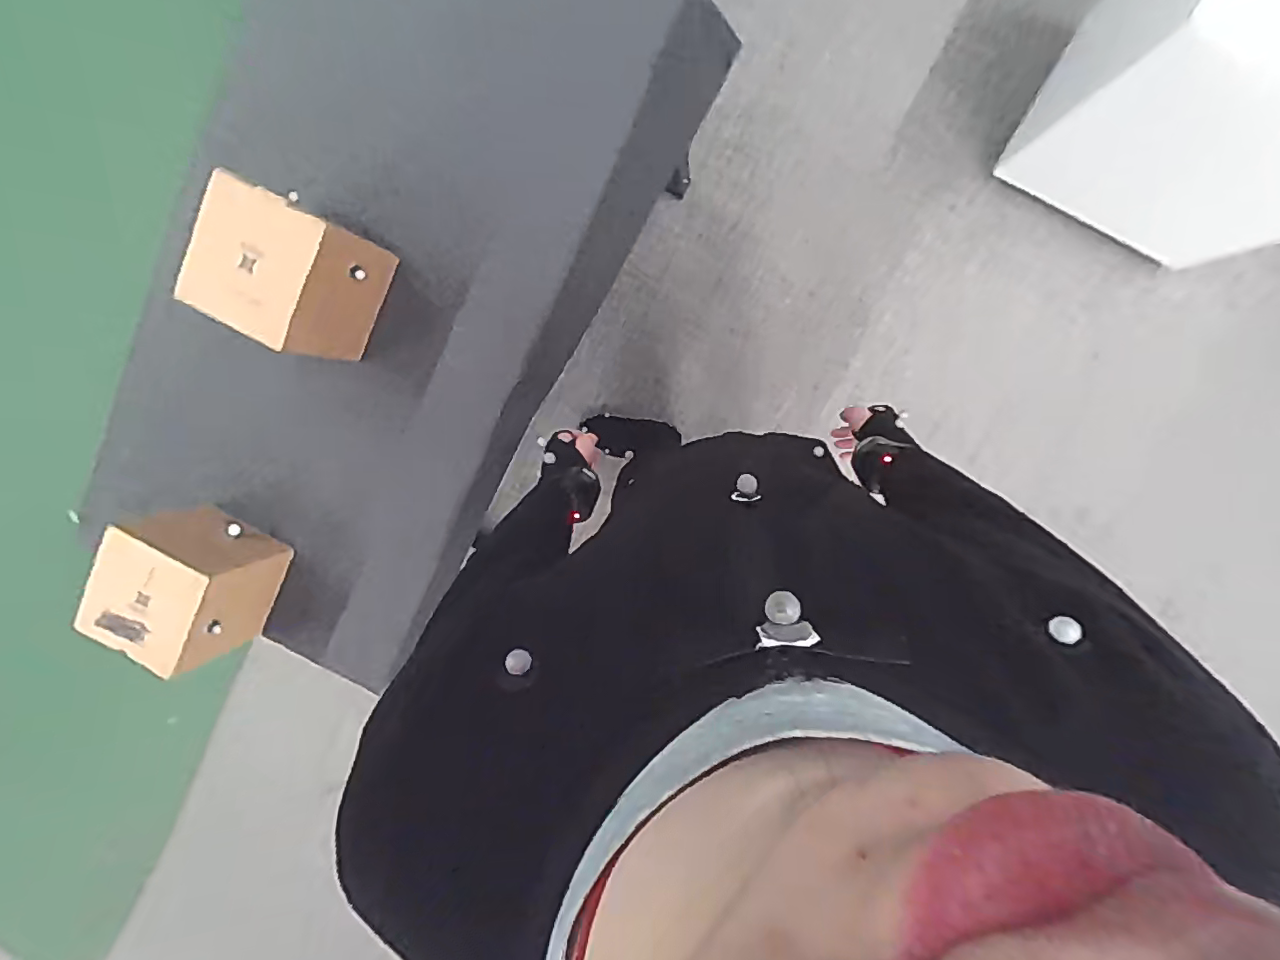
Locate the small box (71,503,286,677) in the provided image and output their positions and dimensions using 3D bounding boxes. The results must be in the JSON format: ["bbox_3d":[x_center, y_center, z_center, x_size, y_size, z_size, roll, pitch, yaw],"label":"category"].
[{"bbox_3d":[-0.694,0.157,0.833,0.168,0.176,0.179,27,99,0],"label":"small box"}]

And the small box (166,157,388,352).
[{"bbox_3d":[-0.481,-0.292,0.744,0.168,0.176,0.179,27,102,1],"label":"small box"}]
